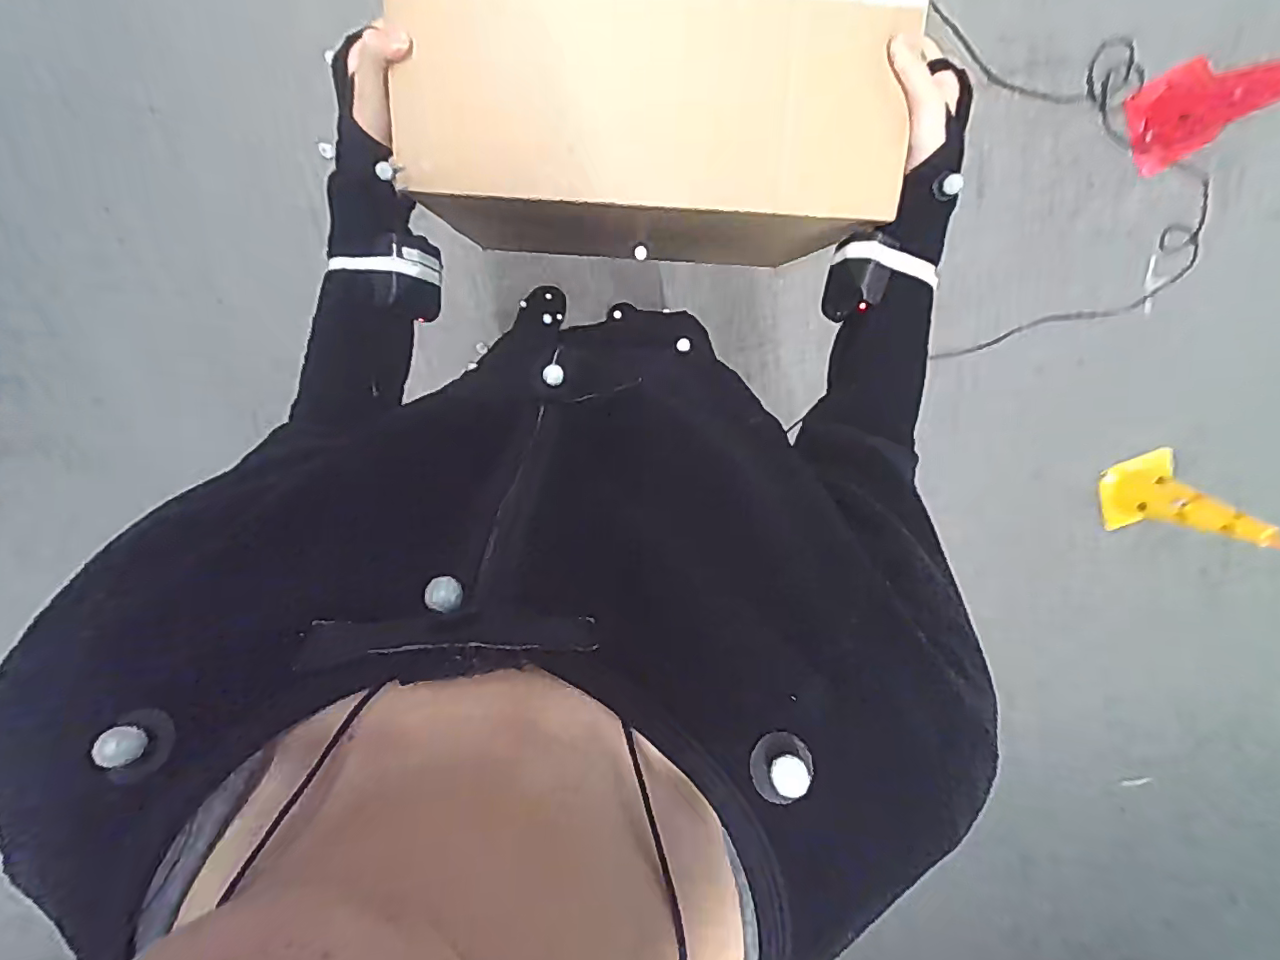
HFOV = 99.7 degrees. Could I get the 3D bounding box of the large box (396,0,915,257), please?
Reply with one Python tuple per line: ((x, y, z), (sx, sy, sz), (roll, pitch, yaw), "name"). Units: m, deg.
((0.010, -0.414, 0.550), (0.408, 0.320, 0.320), (2, 105, -4), "large box")
